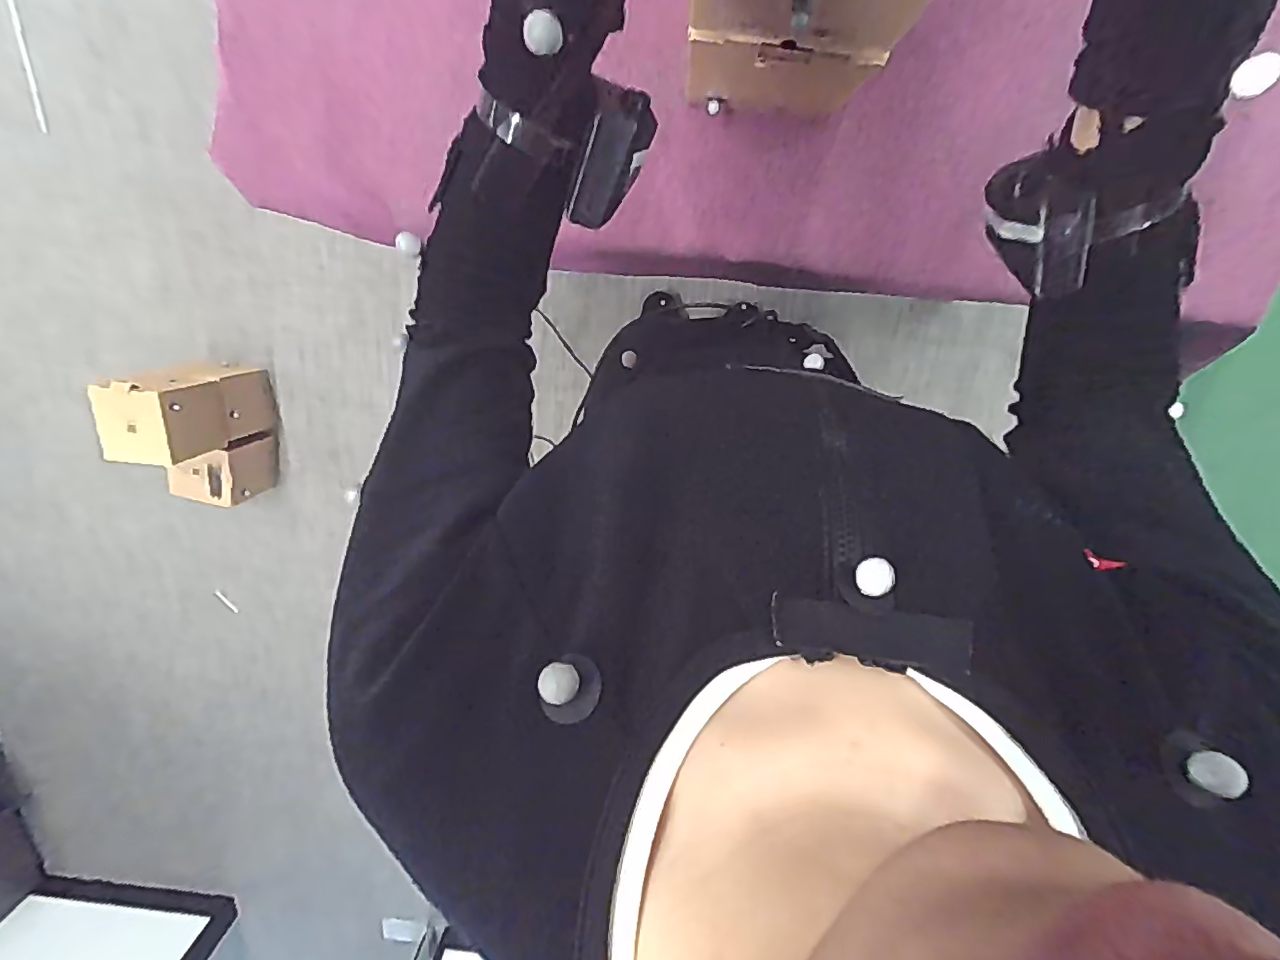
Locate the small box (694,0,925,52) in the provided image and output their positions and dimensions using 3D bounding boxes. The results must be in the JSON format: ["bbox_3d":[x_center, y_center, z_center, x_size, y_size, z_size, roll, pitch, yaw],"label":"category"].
[{"bbox_3d":[0.126,-0.415,0.338,0.168,0.176,0.179,9,110,2],"label":"small box"}]

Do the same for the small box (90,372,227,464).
[{"bbox_3d":[-1.134,-0.153,1.292,0.168,0.176,0.179,6,109,2],"label":"small box"}]

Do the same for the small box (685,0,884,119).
[{"bbox_3d":[0.137,-0.460,0.496,0.168,0.176,0.179,9,109,1],"label":"small box"}]
